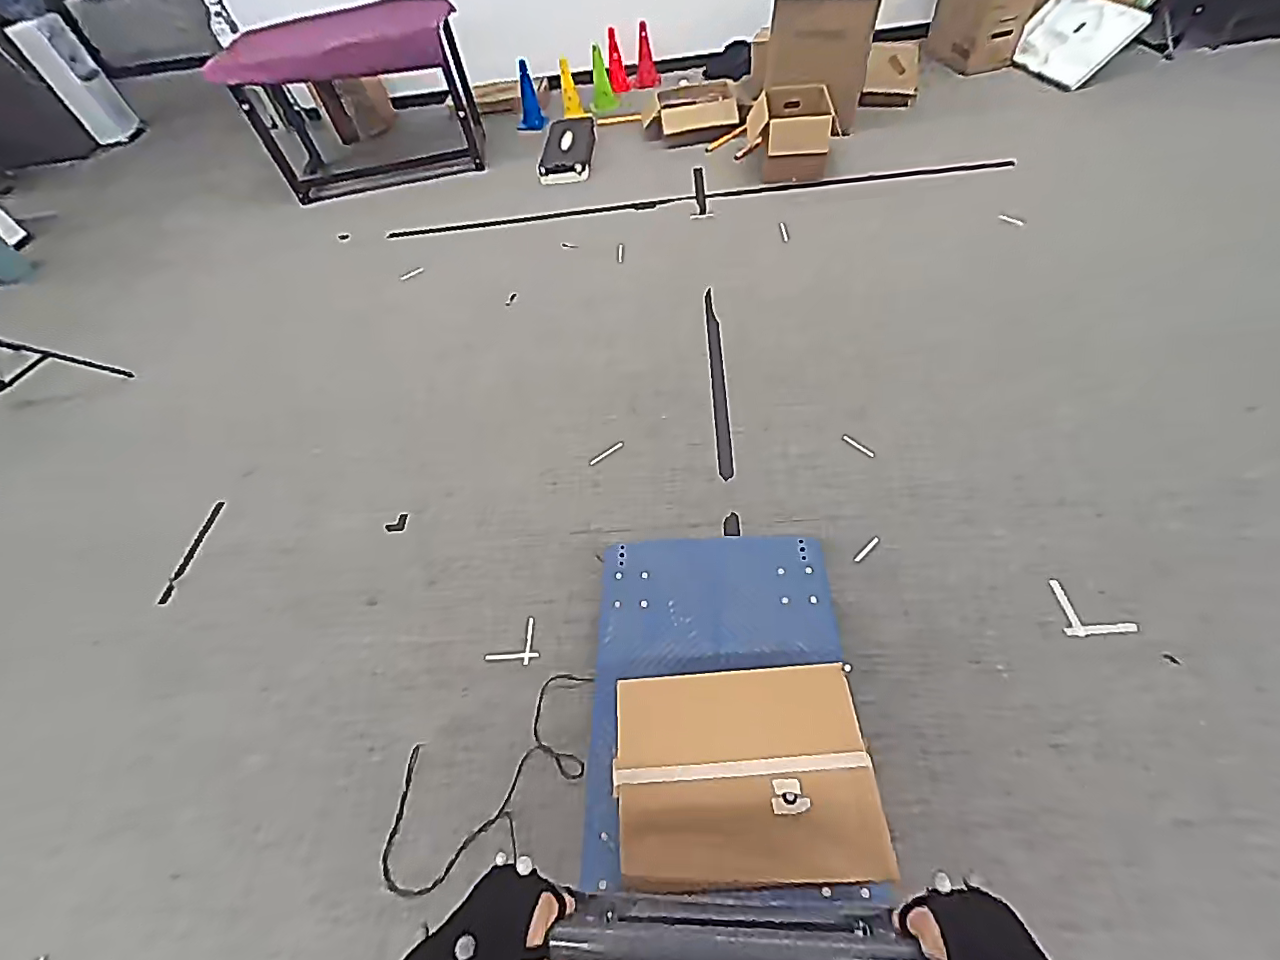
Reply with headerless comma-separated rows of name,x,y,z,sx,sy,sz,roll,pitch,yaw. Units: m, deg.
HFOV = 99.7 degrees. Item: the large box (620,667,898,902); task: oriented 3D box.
large box,0.182,0.567,0.995,0.408,0.320,0.320,-6,53,2
